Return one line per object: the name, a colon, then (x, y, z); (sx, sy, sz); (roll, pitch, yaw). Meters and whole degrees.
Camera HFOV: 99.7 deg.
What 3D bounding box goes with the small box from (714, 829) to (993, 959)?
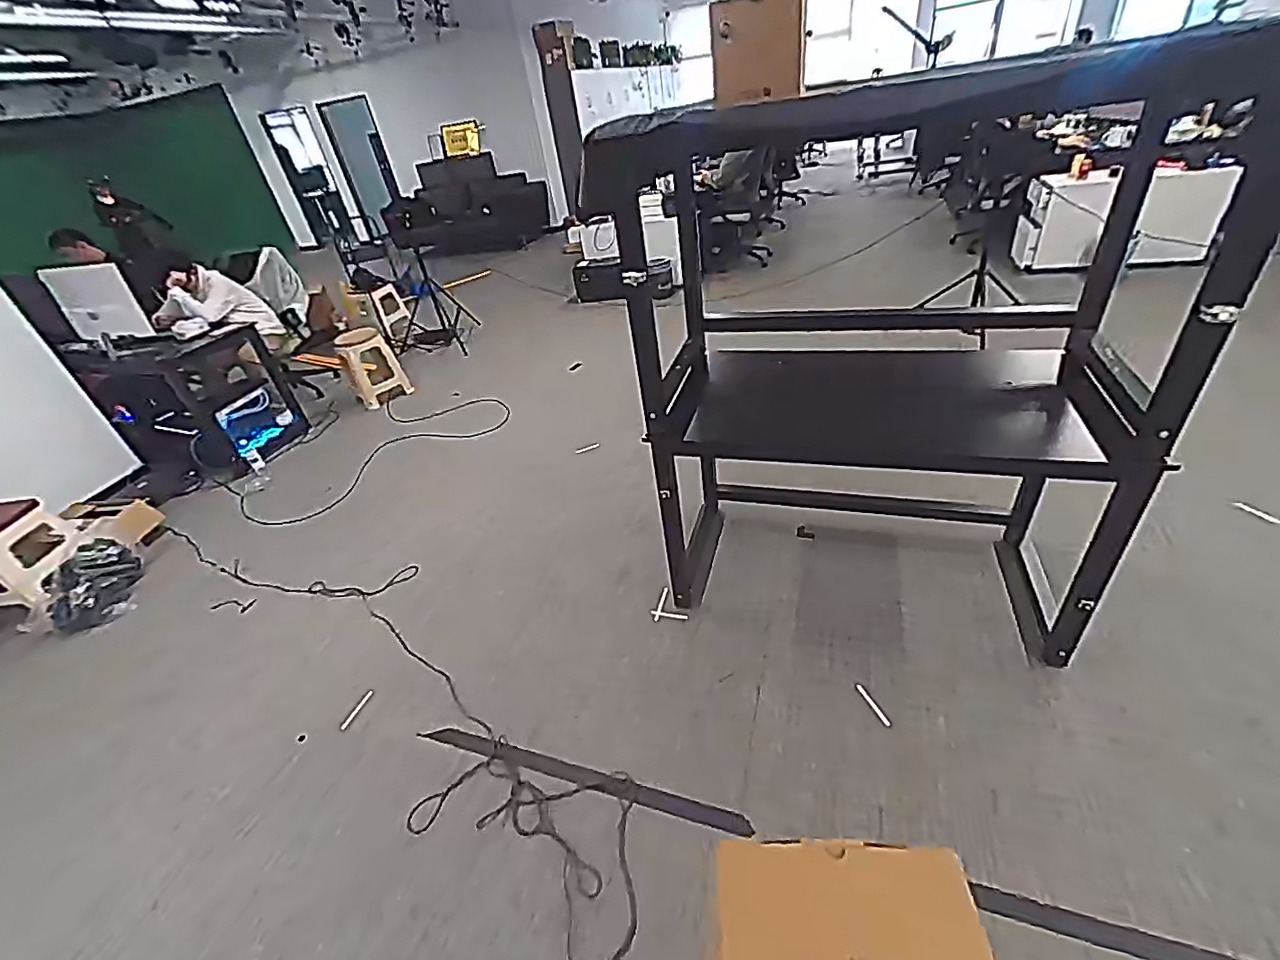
small box: (0.136, 0.369, 0.361); (0.168, 0.176, 0.179); (-1, 33, 5)
